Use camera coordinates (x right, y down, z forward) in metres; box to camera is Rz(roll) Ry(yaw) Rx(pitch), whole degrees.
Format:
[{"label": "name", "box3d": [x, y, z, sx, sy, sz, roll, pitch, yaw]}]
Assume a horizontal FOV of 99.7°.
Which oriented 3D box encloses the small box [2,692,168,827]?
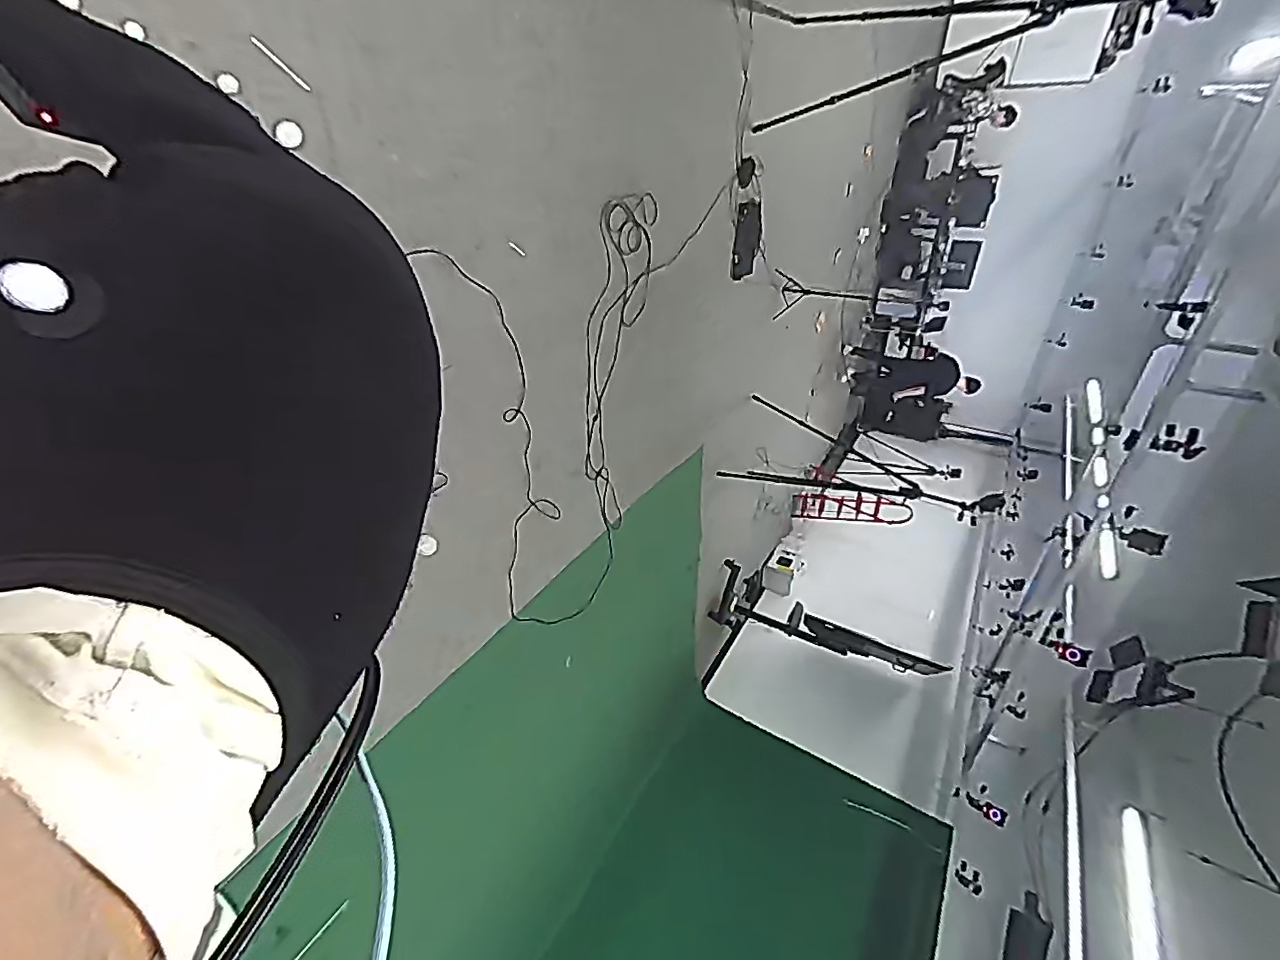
[{"label": "small box", "box3d": [-1.177, 0.582, 1.150, 0.168, 0.176, 0.179, -45, 141, -40]}]
